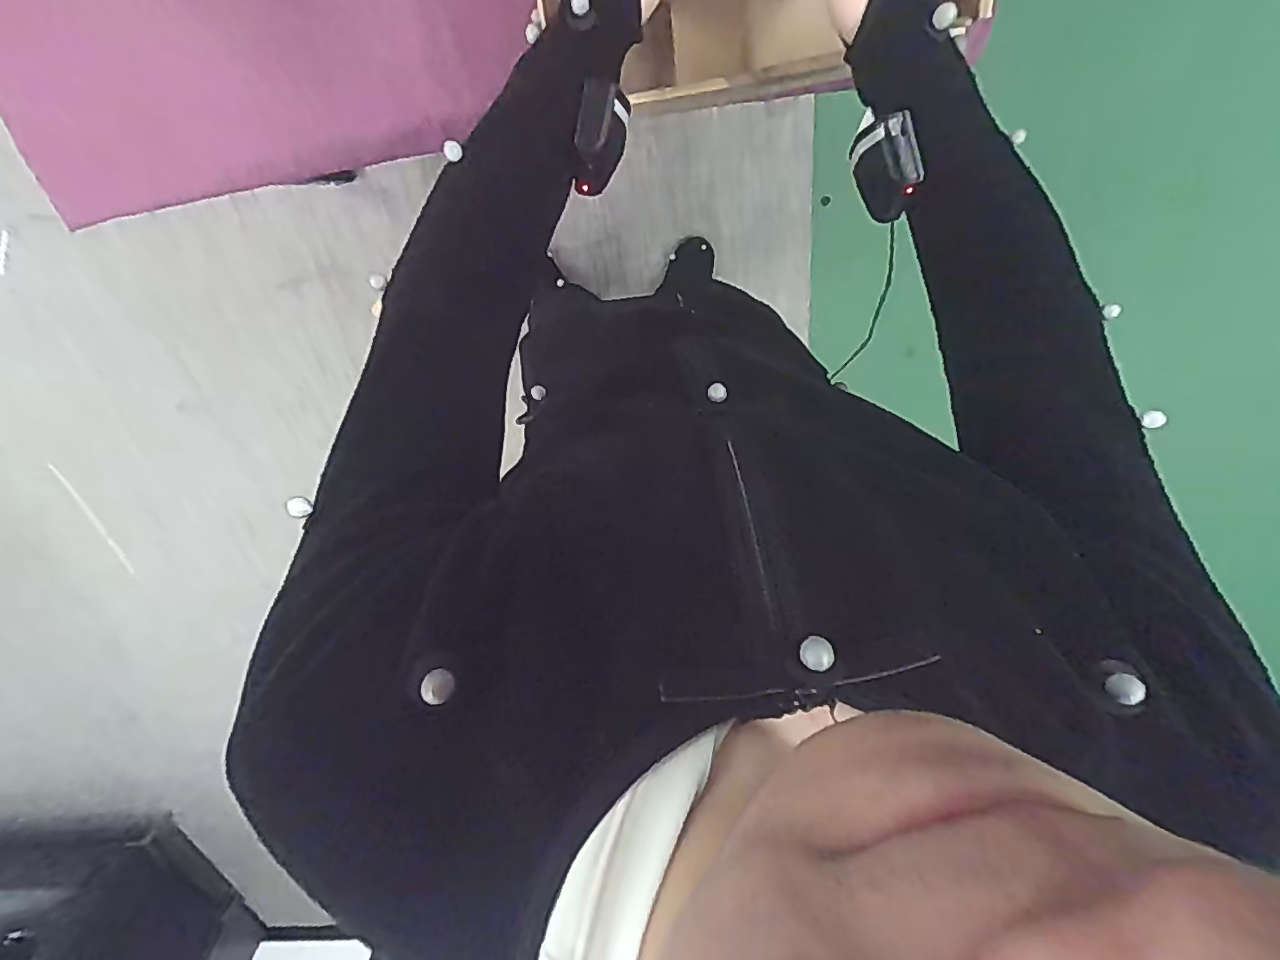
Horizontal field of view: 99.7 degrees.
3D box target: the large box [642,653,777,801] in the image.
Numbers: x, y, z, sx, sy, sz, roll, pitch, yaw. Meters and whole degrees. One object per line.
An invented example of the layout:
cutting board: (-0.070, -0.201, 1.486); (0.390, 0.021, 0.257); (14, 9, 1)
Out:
large box: (0.256, 0.952, 2.095); (0.408, 0.320, 0.320); (-36, 112, 18)
